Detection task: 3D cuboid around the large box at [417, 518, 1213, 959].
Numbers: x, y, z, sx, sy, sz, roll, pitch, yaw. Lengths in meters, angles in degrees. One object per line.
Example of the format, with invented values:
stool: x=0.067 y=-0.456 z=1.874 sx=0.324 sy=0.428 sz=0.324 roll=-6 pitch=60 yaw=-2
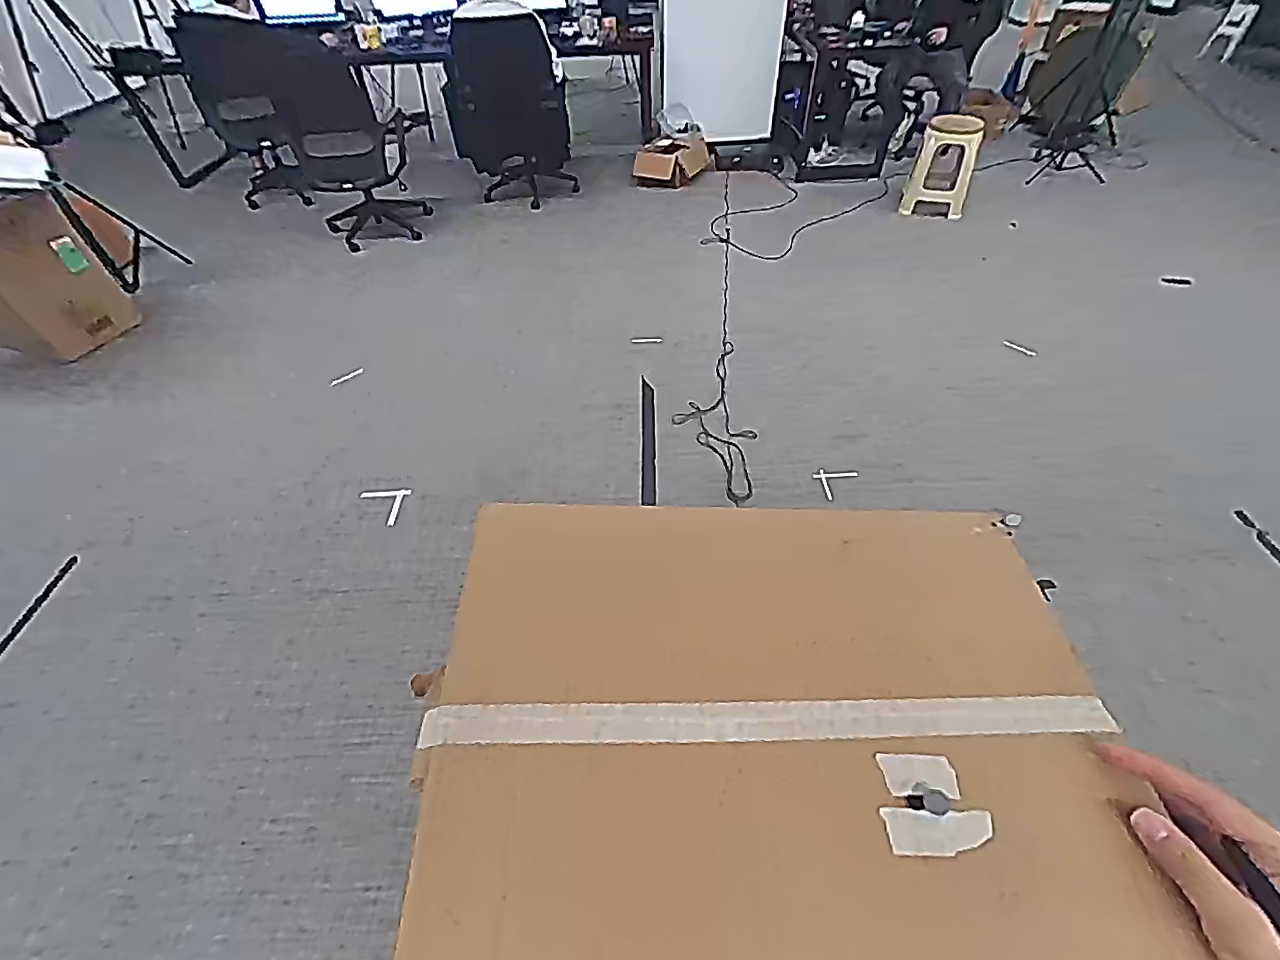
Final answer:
large box: x=0.074 y=0.244 z=0.445 sx=0.408 sy=0.320 sz=0.320 roll=1 pitch=51 yaw=-5
